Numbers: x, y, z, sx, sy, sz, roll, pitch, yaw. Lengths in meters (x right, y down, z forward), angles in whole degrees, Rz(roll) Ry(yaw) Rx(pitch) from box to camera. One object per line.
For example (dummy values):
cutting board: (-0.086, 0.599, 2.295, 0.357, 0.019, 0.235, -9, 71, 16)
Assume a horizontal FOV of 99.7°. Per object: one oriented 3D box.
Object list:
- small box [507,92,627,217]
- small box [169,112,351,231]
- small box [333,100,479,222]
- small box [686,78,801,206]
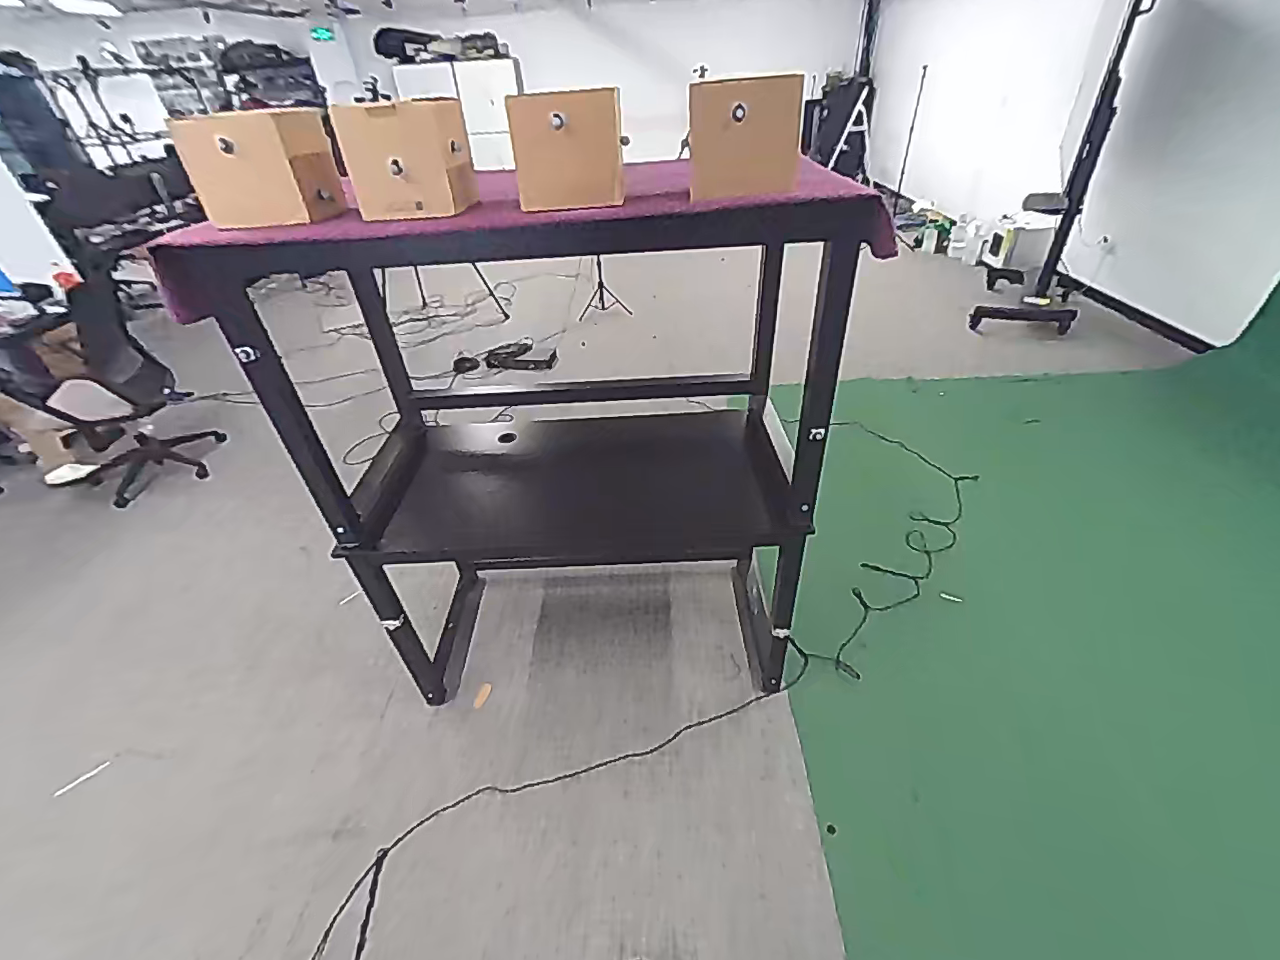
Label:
small box: (-0.116, -0.573, 0.951, 0.179, 0.176, 0.168, -3, 35, 3)
small box: (-0.659, -0.551, 0.965, 0.179, 0.176, 0.168, -2, 37, 0)
small box: (-0.398, -0.562, 0.959, 0.168, 0.176, 0.179, -2, 36, 1)
small box: (0.171, -0.583, 0.935, 0.179, 0.176, 0.168, -1, 38, 5)
